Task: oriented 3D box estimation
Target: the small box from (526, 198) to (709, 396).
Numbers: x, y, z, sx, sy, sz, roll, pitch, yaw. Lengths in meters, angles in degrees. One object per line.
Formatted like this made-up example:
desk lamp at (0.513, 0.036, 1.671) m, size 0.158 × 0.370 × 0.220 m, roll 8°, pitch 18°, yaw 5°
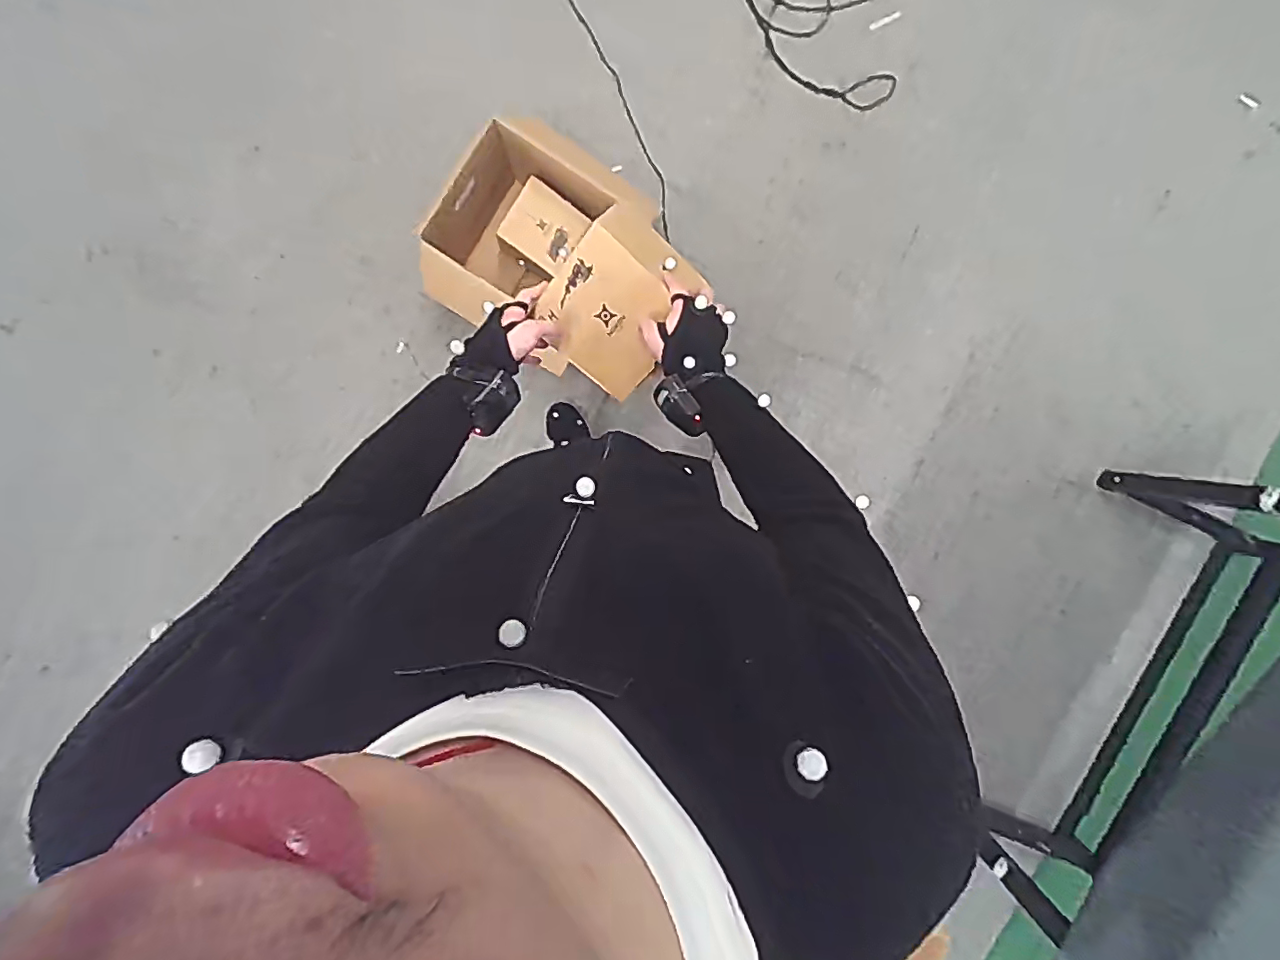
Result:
small box at (-0.021, -0.257, 0.749) m, size 0.179 × 0.176 × 0.168 m, roll 39°, pitch 124°, yaw -17°
